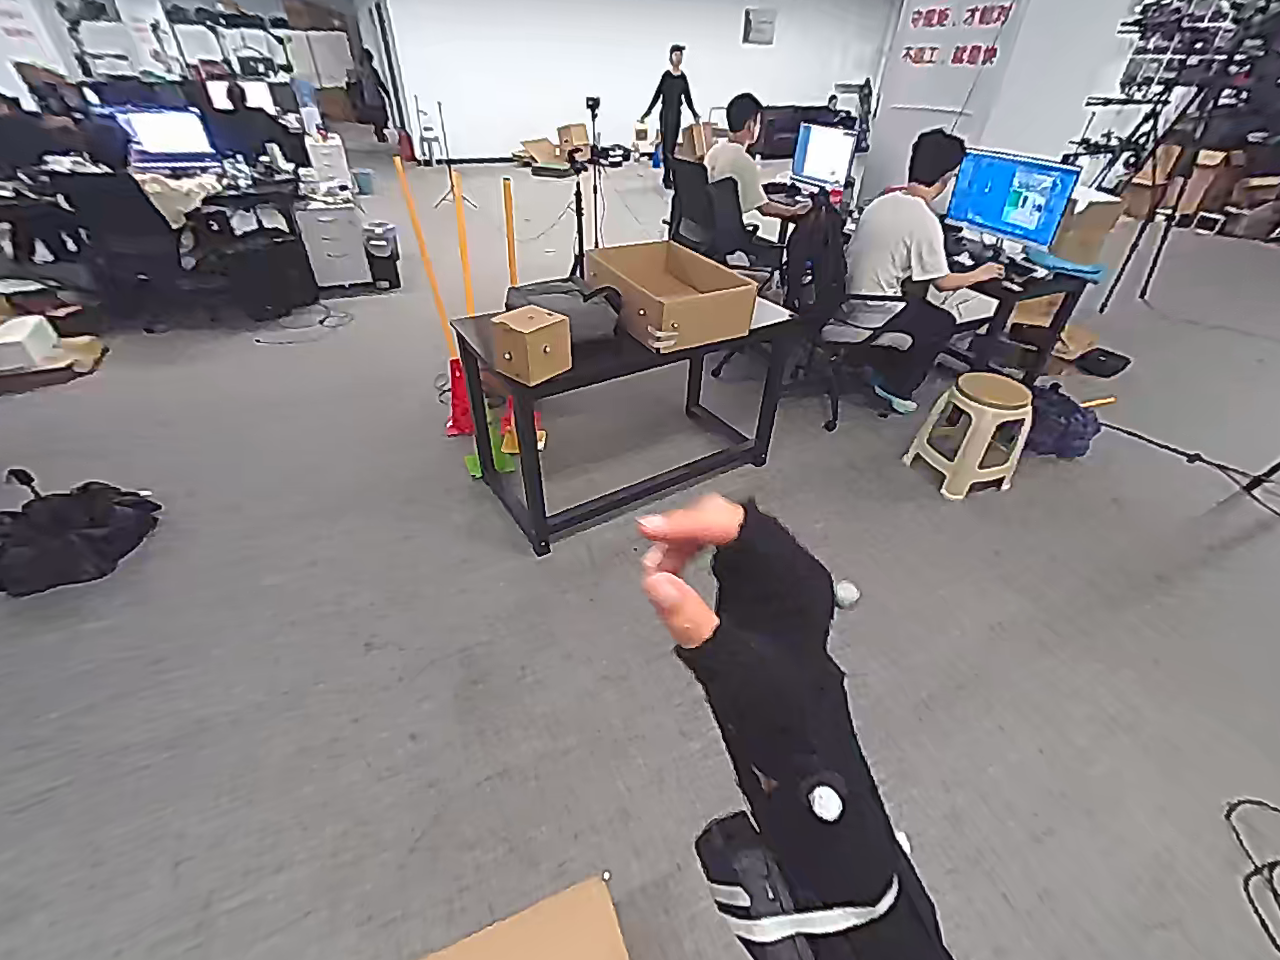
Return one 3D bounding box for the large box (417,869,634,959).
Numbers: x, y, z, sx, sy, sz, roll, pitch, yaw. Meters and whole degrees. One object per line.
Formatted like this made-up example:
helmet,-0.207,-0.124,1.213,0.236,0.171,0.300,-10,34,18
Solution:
large box,-0.193,0.992,0.948,0.408,0.320,0.320,-14,41,-18
